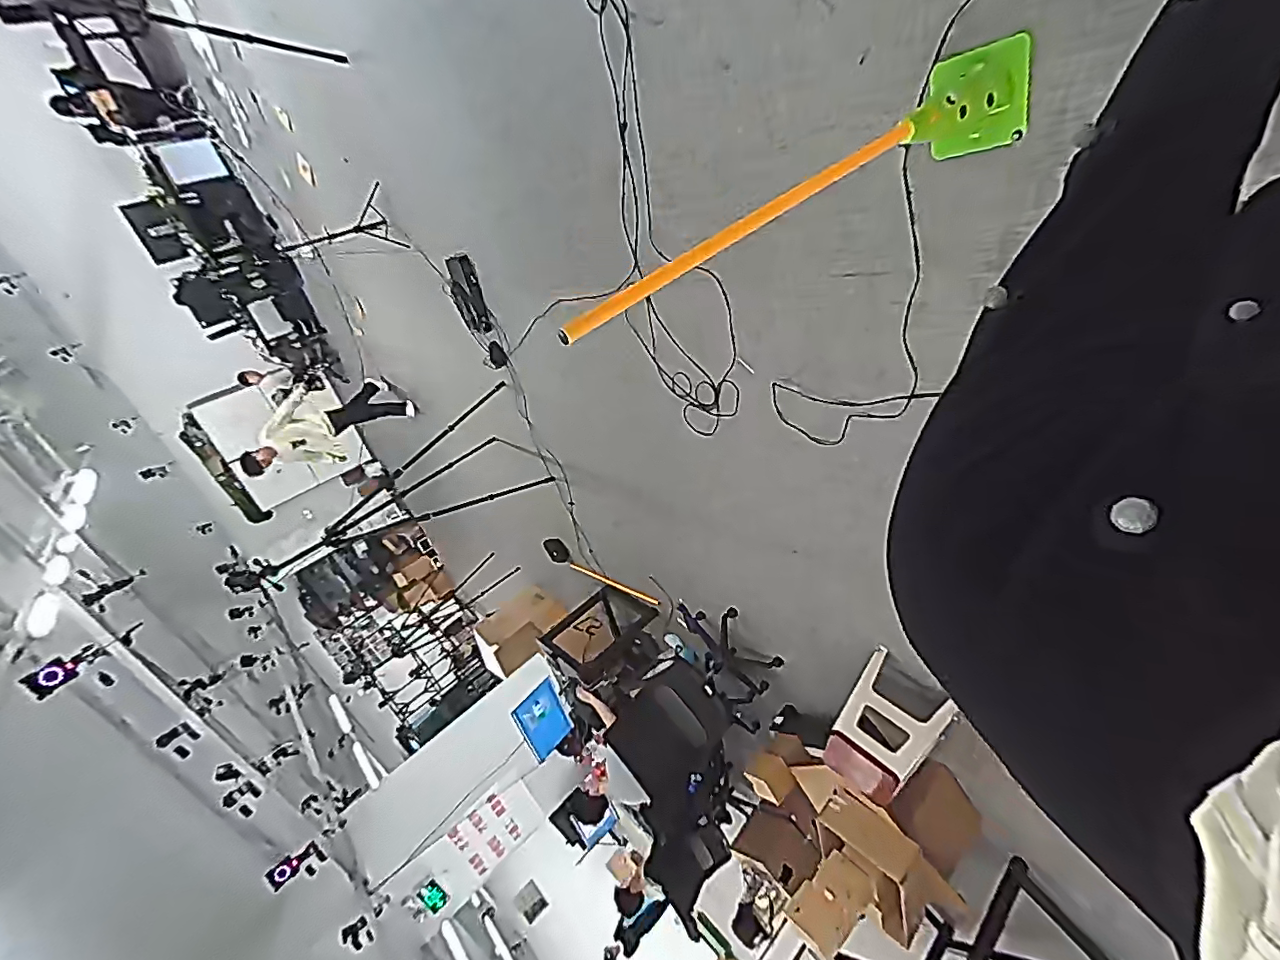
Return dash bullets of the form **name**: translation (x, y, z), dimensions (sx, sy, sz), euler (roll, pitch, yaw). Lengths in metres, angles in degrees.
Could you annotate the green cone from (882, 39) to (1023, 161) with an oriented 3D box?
- **green cone**: translation (0.631, -0.771, 1.150), dimensions (0.202, 0.368, 0.200), euler (18, 134, 49)
